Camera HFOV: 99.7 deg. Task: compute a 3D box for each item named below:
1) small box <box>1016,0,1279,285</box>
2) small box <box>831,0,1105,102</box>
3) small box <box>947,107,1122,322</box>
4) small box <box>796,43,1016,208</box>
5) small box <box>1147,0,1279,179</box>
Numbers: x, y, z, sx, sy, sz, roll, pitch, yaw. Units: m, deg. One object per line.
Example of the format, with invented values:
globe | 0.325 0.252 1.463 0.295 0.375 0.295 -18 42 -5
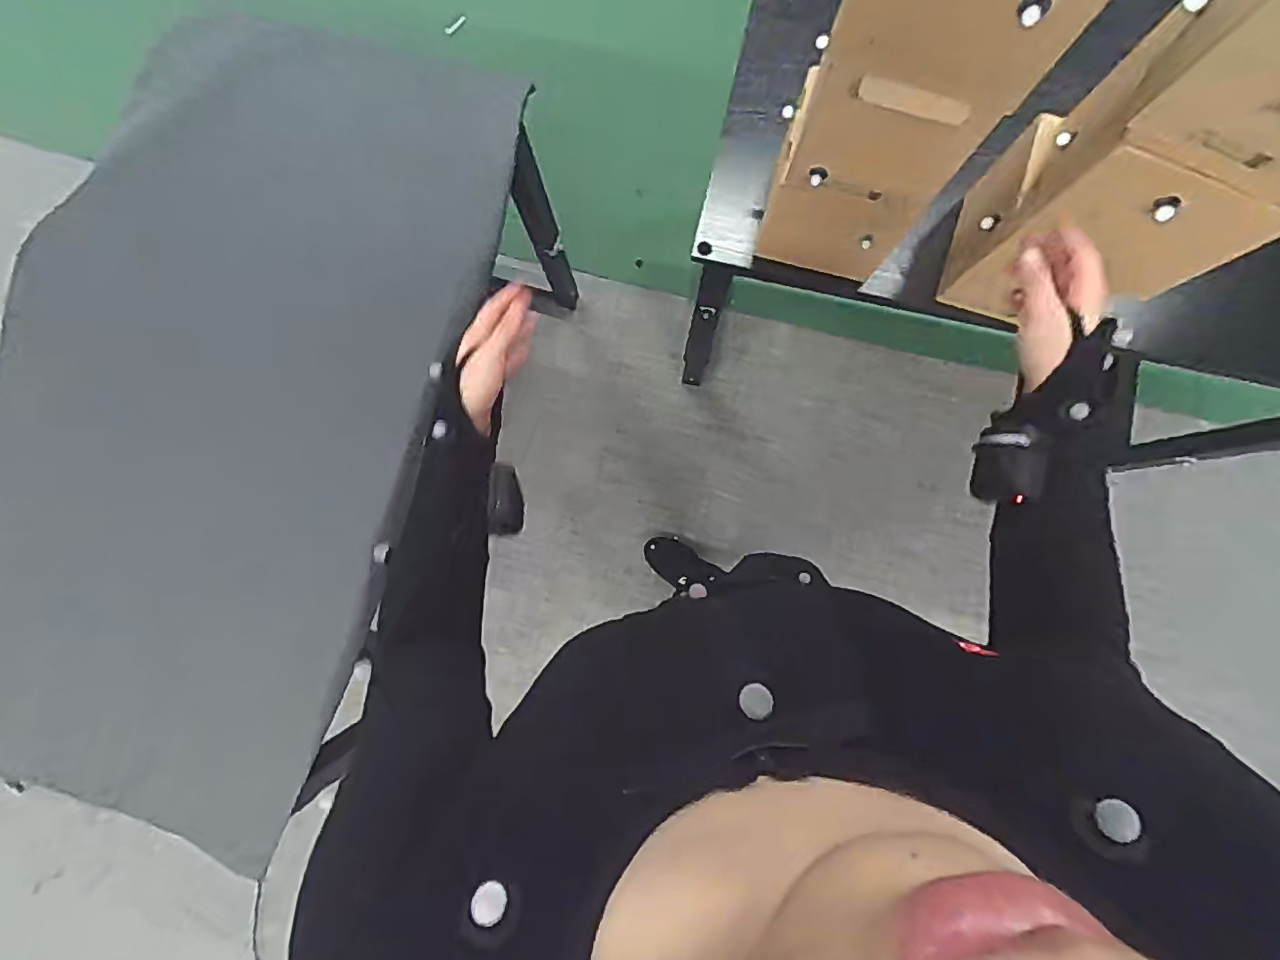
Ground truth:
small box | 0.544 -0.326 0.551 0.179 0.176 0.168 26 86 4
small box | 0.271 -0.432 0.405 0.179 0.176 0.168 17 84 3
small box | 0.542 -0.333 0.715 0.168 0.176 0.179 18 85 3
small box | 0.278 -0.425 0.567 0.168 0.176 0.179 17 84 2
small box | 0.537 -0.357 0.390 0.168 0.176 0.179 29 87 5
